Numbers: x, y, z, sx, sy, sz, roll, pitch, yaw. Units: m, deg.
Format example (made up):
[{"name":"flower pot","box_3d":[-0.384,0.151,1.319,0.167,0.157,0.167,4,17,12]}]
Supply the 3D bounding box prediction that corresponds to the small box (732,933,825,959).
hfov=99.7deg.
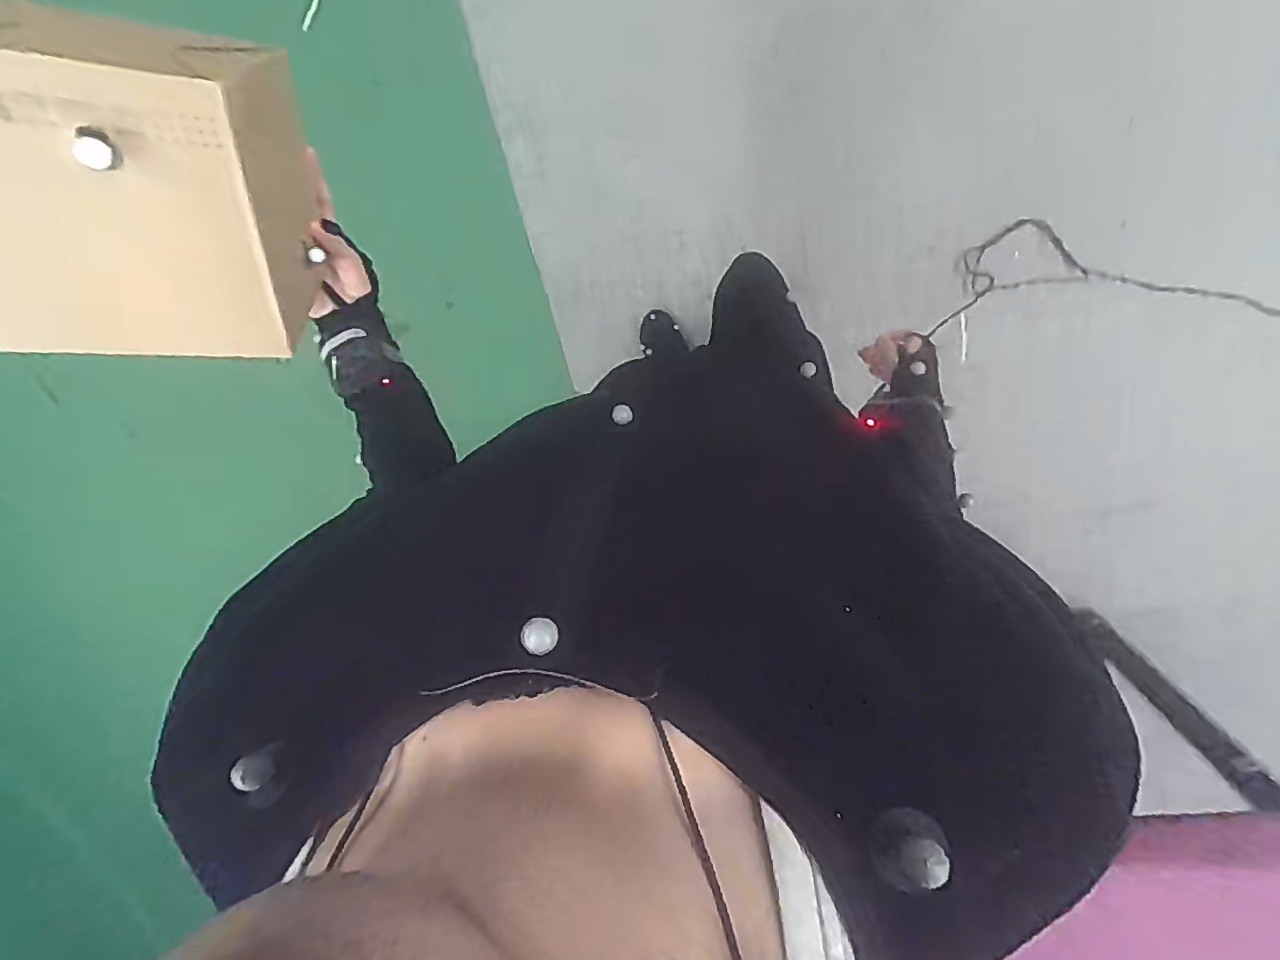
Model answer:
[{"name":"small box","box_3d":[0.294,1.033,1.057,0.179,0.176,0.168,-29,105,17]}]
